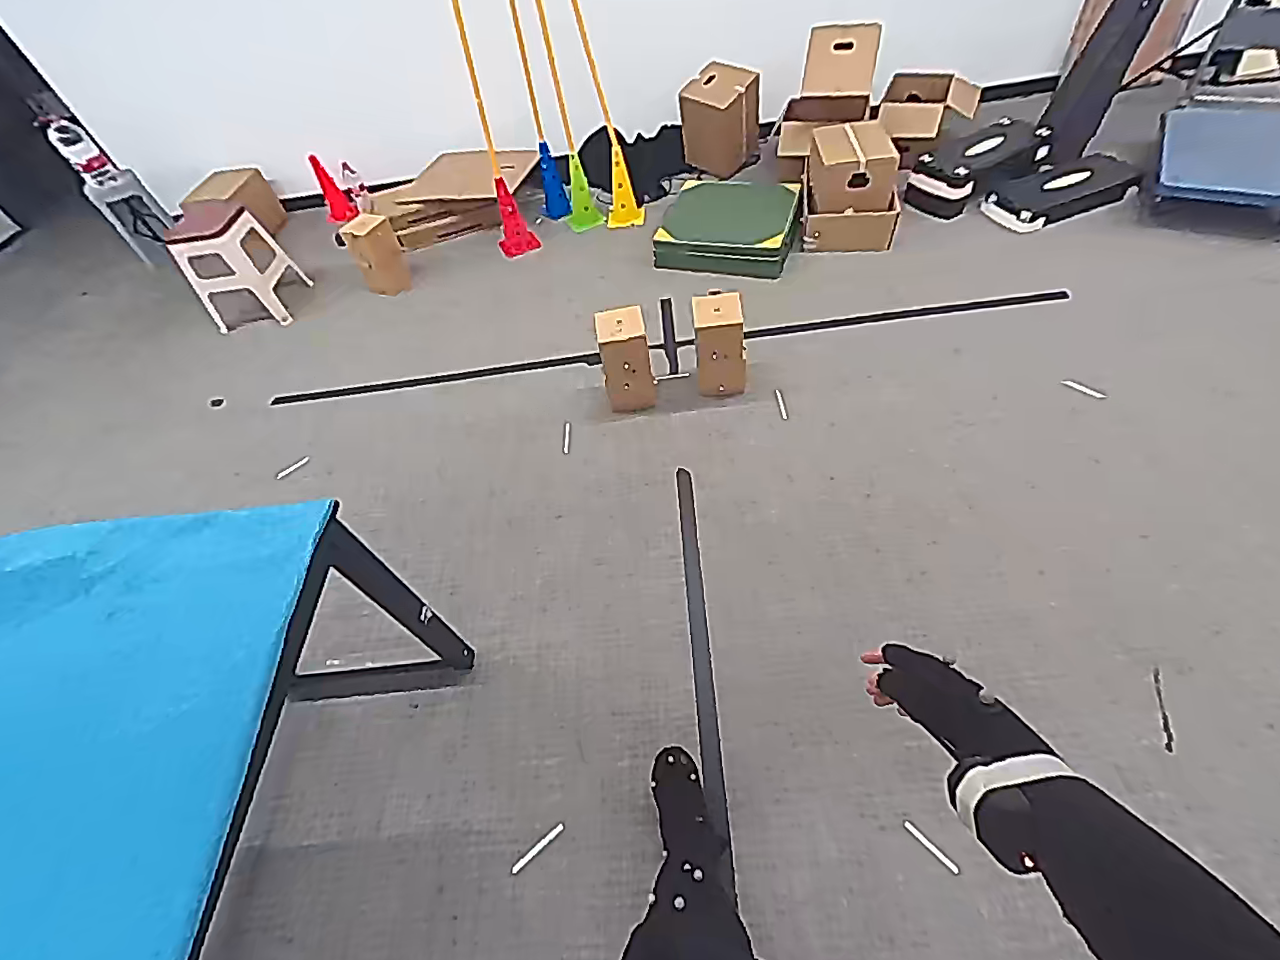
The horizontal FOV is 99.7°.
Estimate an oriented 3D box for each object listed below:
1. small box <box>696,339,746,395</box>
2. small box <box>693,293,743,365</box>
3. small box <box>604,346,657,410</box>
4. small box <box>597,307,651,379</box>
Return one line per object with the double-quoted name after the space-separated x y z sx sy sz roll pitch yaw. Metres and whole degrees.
0.303 -0.439 2.047 0.179 0.176 0.168 -2 52 5 "small box"
0.274 -0.533 1.917 0.168 0.176 0.179 -4 53 7 "small box"
-0.037 -0.384 2.055 0.179 0.176 0.168 -8 52 2 "small box"
-0.057 -0.488 1.929 0.168 0.176 0.179 -10 52 2 "small box"
